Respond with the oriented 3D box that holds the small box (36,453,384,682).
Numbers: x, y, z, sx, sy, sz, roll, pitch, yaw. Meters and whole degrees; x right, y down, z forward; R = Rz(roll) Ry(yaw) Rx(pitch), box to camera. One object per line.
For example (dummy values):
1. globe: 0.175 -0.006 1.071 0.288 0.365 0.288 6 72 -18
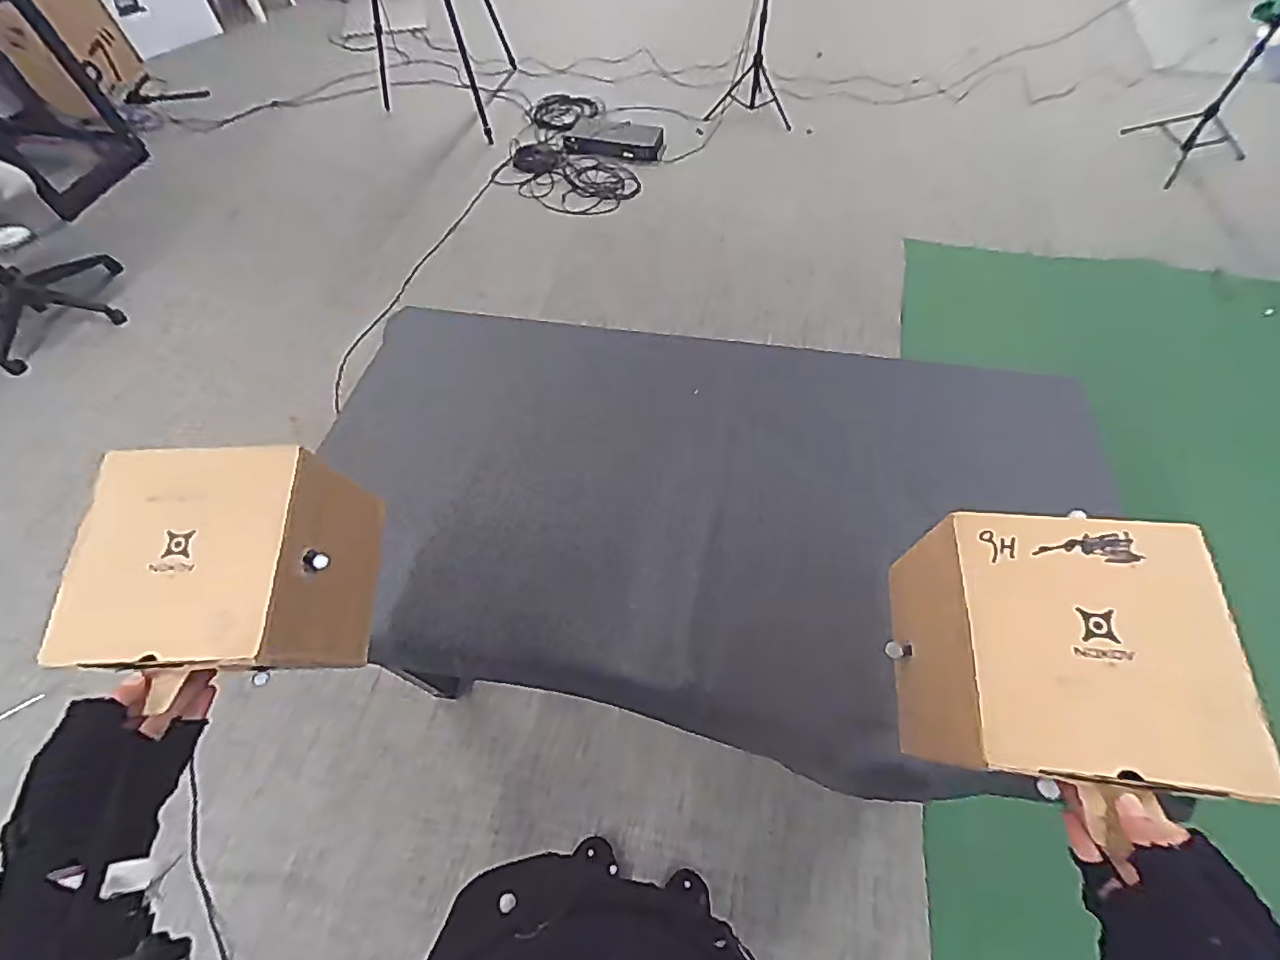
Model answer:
1. small box: -0.358 0.089 0.495 0.168 0.176 0.179 -2 69 -1
